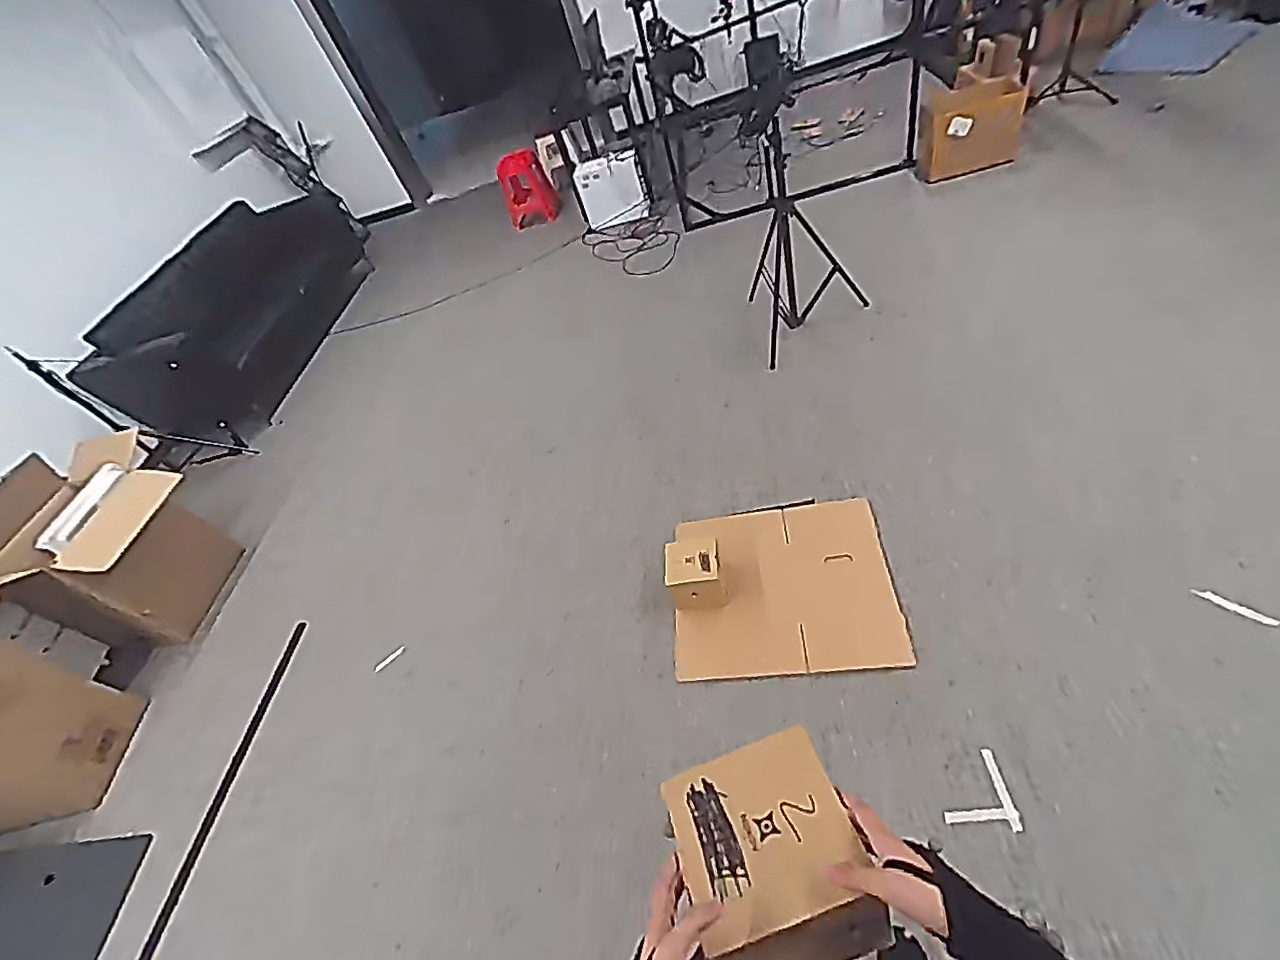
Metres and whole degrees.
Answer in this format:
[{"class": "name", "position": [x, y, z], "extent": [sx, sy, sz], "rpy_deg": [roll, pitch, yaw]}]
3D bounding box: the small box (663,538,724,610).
[{"class": "small box", "position": [0.184, 0.318, 1.809], "extent": [0.179, 0.176, 0.168], "rpy_deg": [-10, 47, 15]}]
